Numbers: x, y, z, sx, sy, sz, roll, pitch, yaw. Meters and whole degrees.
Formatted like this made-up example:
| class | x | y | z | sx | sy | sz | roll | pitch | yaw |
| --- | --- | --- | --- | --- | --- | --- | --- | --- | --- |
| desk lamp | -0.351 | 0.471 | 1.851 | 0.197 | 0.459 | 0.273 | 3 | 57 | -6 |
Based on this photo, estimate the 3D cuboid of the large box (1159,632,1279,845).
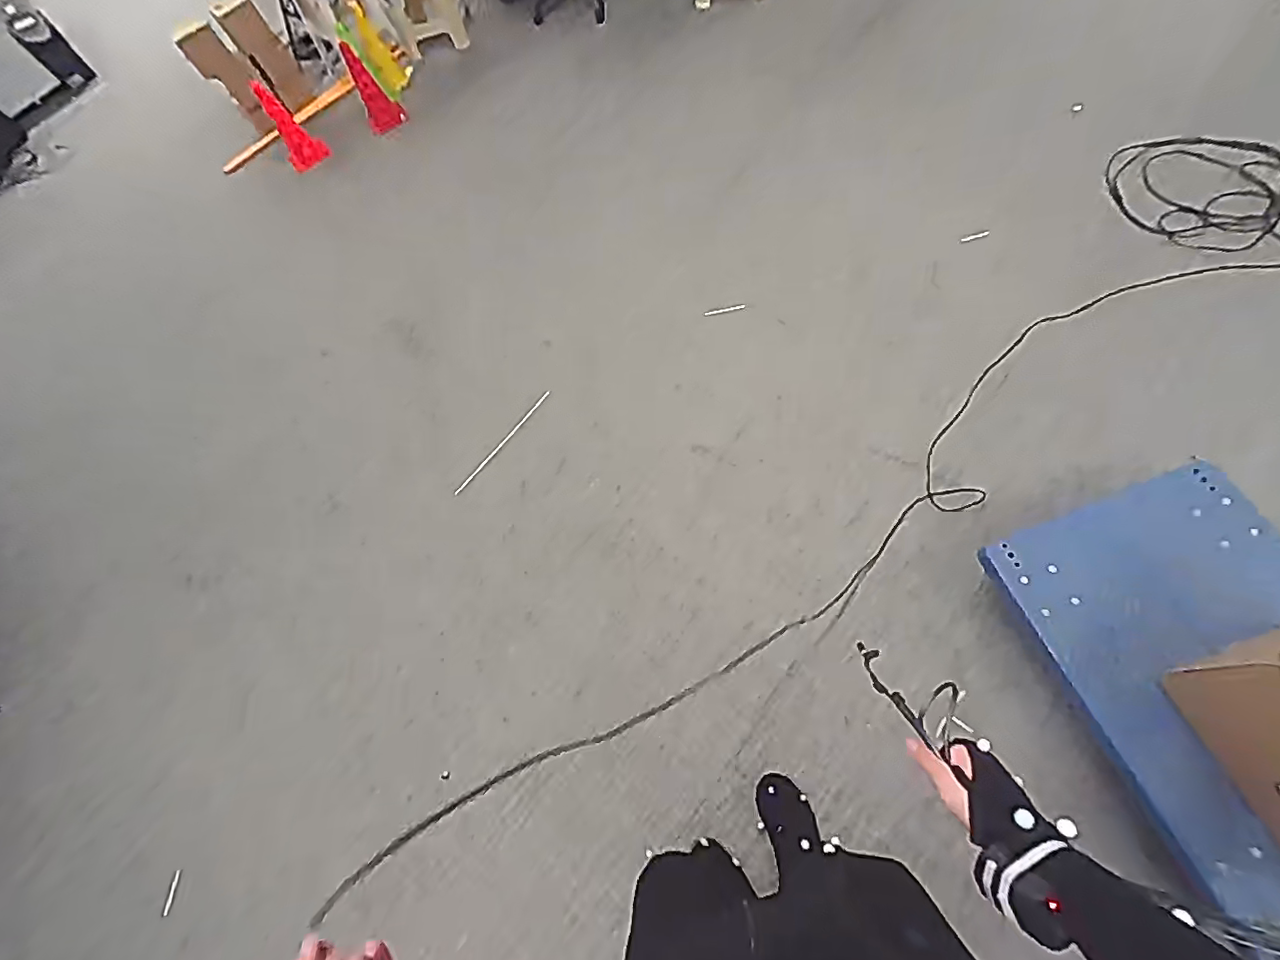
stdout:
| class | x | y | z | sx | sy | sz | roll | pitch | yaw |
| --- | --- | --- | --- | --- | --- | --- | --- | --- | --- |
| large box | 1.246 | 0.464 | 0.899 | 0.320 | 0.320 | 0.408 | -22 | 63 | 1 |
